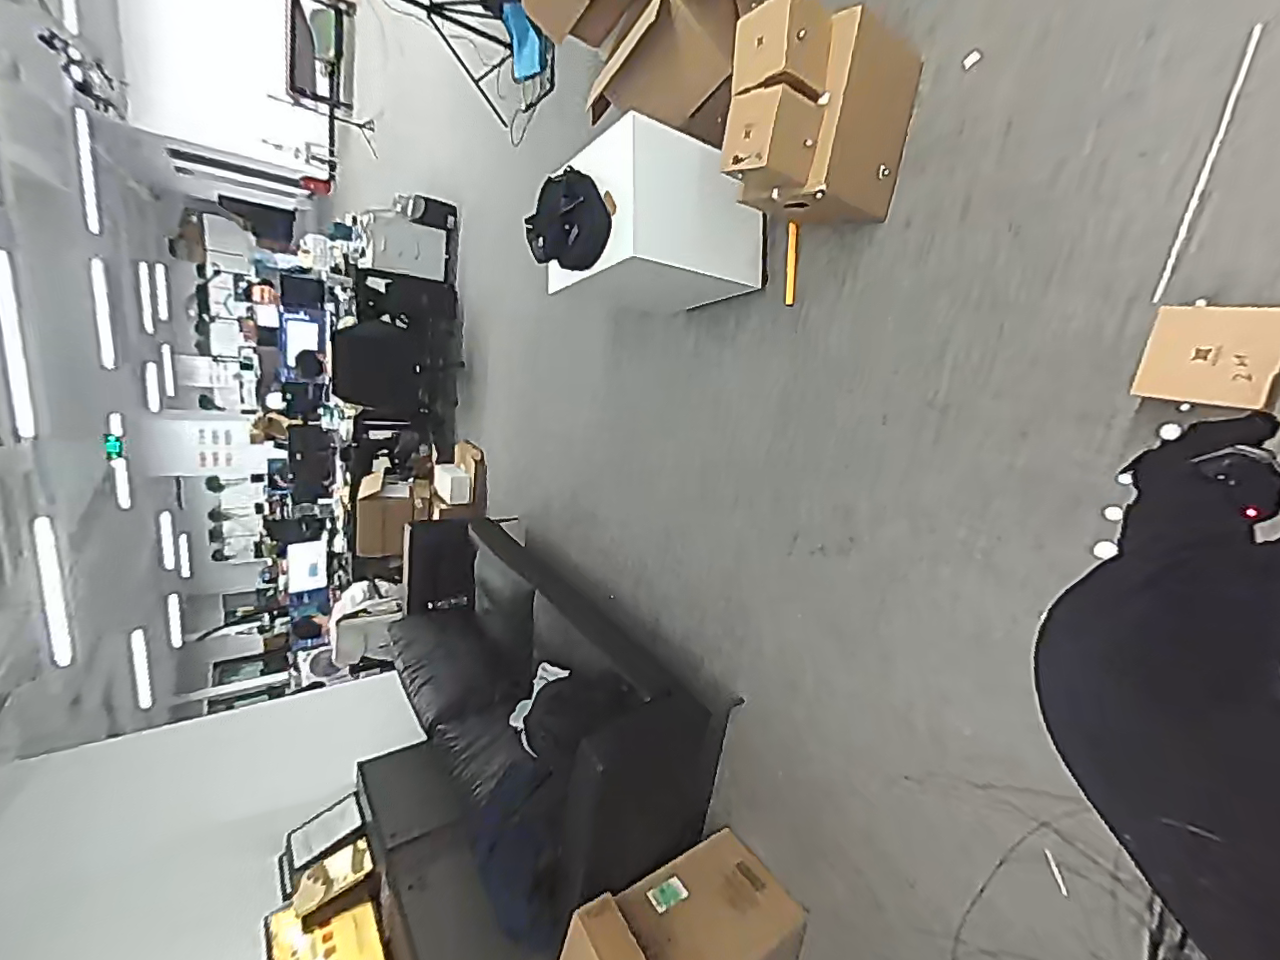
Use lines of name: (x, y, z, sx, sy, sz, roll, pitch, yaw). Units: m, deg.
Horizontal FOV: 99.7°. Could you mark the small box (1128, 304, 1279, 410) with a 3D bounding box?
small box: (1.052, -0.223, 0.989, 0.179, 0.176, 0.168, 25, 113, 50)
